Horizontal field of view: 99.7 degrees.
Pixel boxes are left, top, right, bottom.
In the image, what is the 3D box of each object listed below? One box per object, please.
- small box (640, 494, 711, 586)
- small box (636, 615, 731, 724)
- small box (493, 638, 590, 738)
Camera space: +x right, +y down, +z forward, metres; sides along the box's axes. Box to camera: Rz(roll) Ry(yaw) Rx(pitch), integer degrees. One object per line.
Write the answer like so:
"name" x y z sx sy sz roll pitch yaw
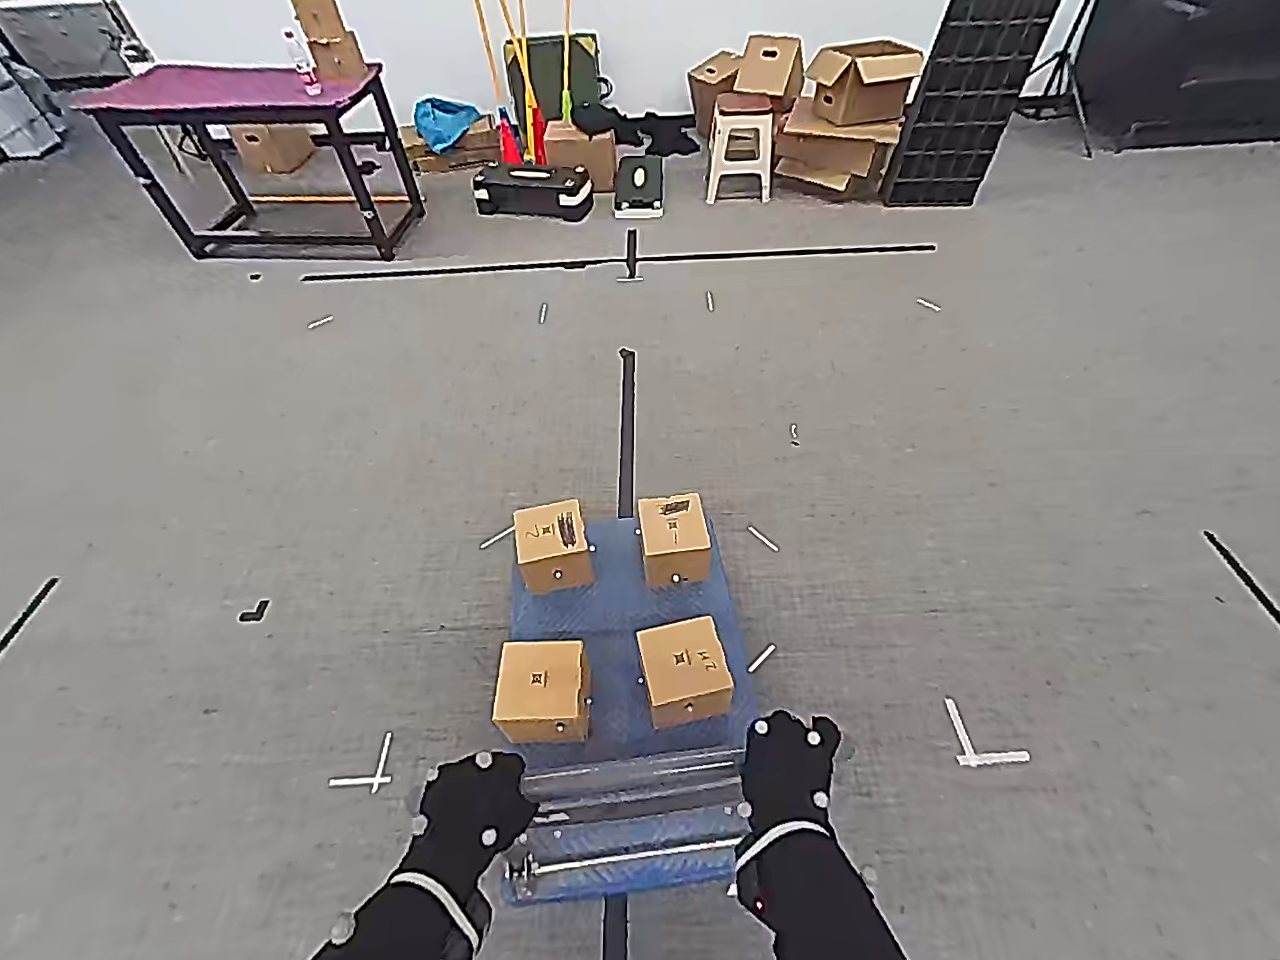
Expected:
"small box" 0.088 0.161 1.446 0.168 0.176 0.179 -6 51 -2
"small box" 0.094 0.432 1.220 0.179 0.176 0.168 -10 51 -6
"small box" -0.211 0.467 1.206 0.179 0.176 0.168 -1 50 0
